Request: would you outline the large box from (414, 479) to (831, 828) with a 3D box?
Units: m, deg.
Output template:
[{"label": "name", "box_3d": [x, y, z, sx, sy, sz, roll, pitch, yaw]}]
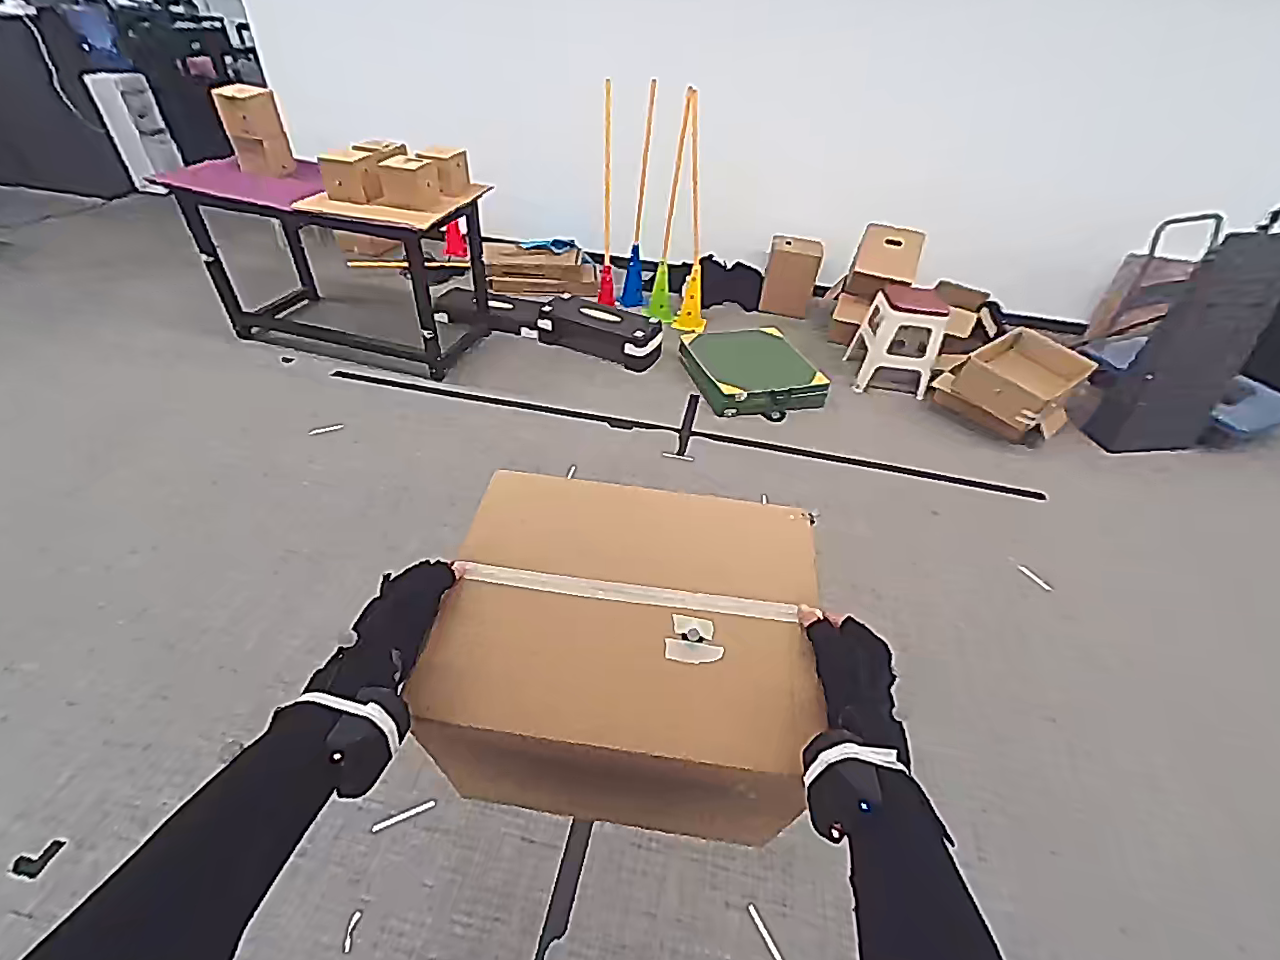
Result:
[{"label": "large box", "box_3d": [-0.013, 0.230, 0.713, 0.408, 0.320, 0.320, 7, 48, 2]}]
